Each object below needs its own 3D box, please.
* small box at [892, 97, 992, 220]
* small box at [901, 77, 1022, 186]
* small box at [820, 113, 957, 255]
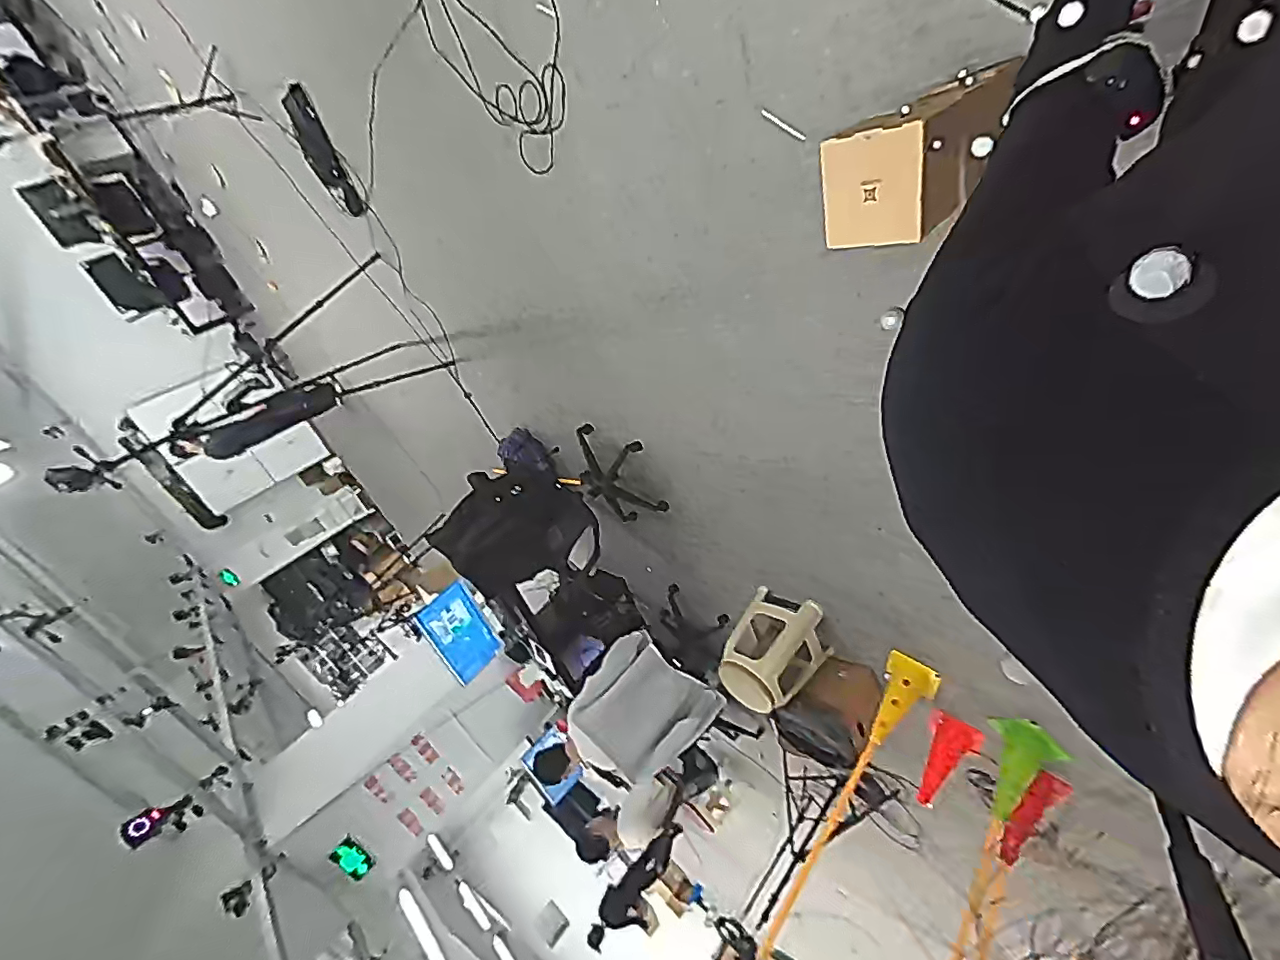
[{"bbox_3d":[0.550,-0.599,1.027,0.168,0.176,0.179,13,134,45],"label":"small box"},{"bbox_3d":[0.661,-0.694,1.108,0.168,0.176,0.179,12,131,50],"label":"small box"},{"bbox_3d":[0.437,-0.513,0.948,0.168,0.176,0.179,17,135,42],"label":"small box"}]
